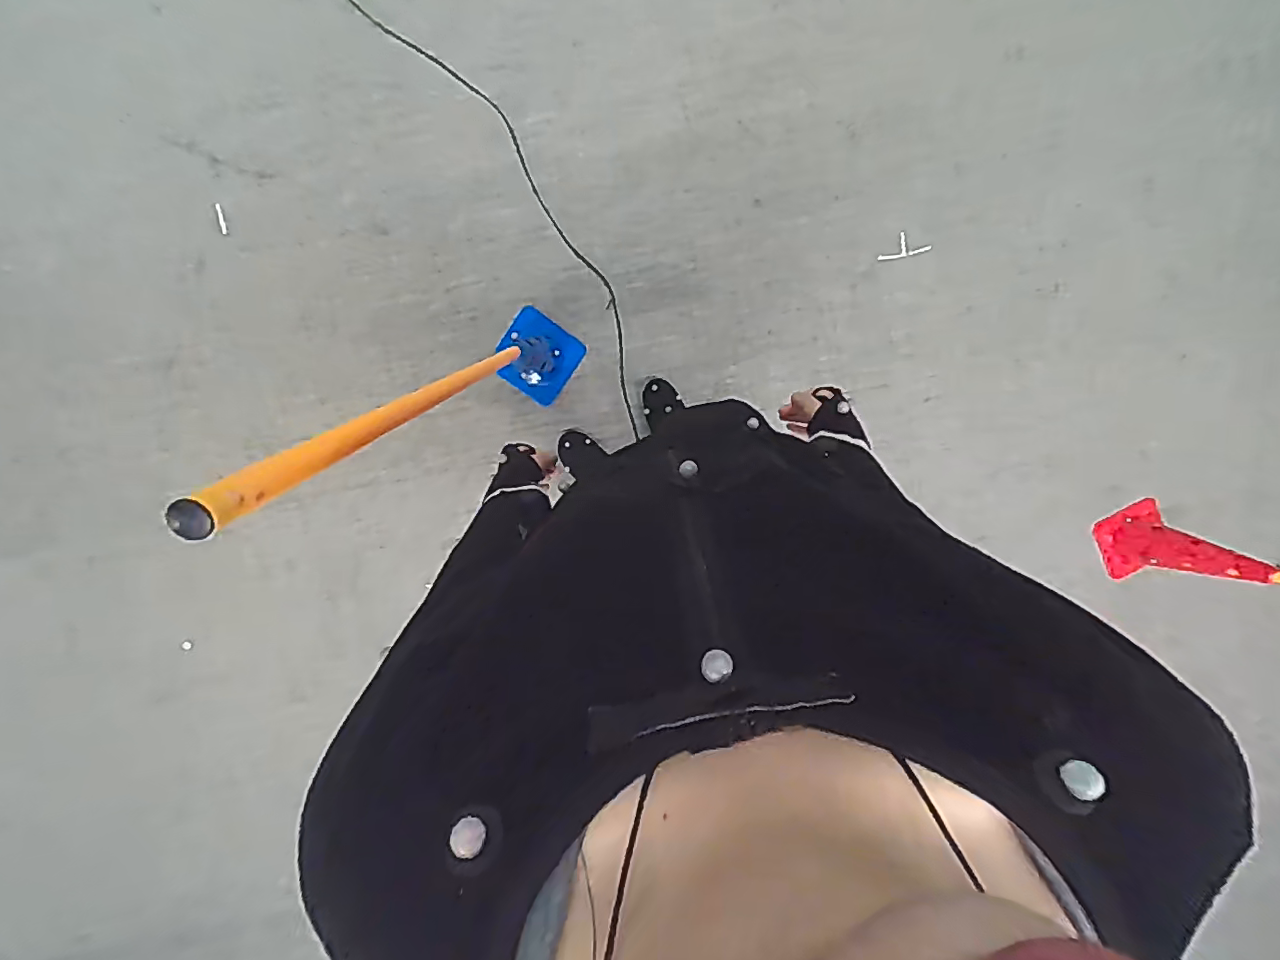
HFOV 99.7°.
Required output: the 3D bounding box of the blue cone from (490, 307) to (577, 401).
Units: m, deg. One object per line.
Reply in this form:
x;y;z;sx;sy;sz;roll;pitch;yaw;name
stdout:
-0.266;-0.289;1.244;0.192;0.380;0.193;33;98;-9;blue cone
